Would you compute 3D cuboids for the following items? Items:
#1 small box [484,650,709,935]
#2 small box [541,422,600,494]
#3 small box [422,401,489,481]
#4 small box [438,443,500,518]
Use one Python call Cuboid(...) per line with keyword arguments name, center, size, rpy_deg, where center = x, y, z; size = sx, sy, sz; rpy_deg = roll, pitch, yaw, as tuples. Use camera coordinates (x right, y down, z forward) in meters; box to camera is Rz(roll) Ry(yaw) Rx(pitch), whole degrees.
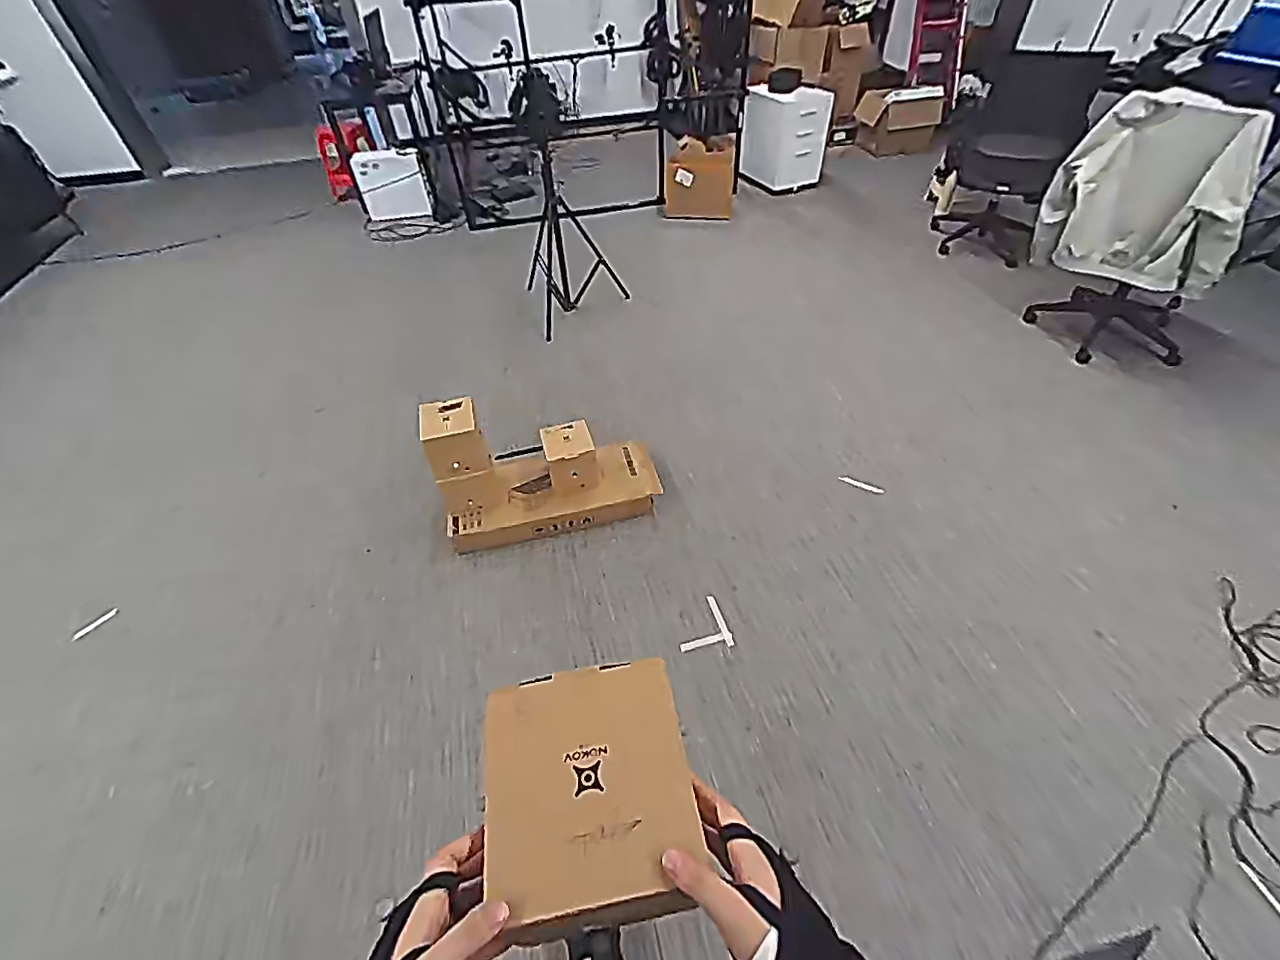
Cuboid(name="small box", center=(-0.041, 0.287, 0.501), size=(0.168, 0.176, 0.179), rpy_deg=(-9, 47, -6))
Cuboid(name="small box", center=(-0.242, -0.070, 1.898), size=(0.168, 0.176, 0.179), rpy_deg=(-14, 47, -8))
Cuboid(name="small box", center=(-0.592, -0.125, 1.739), size=(0.168, 0.176, 0.179), rpy_deg=(-13, 46, -10))
Cuboid(name="small box", center=(-0.580, 0.001, 1.845), size=(0.168, 0.176, 0.179), rpy_deg=(-12, 46, -9))
